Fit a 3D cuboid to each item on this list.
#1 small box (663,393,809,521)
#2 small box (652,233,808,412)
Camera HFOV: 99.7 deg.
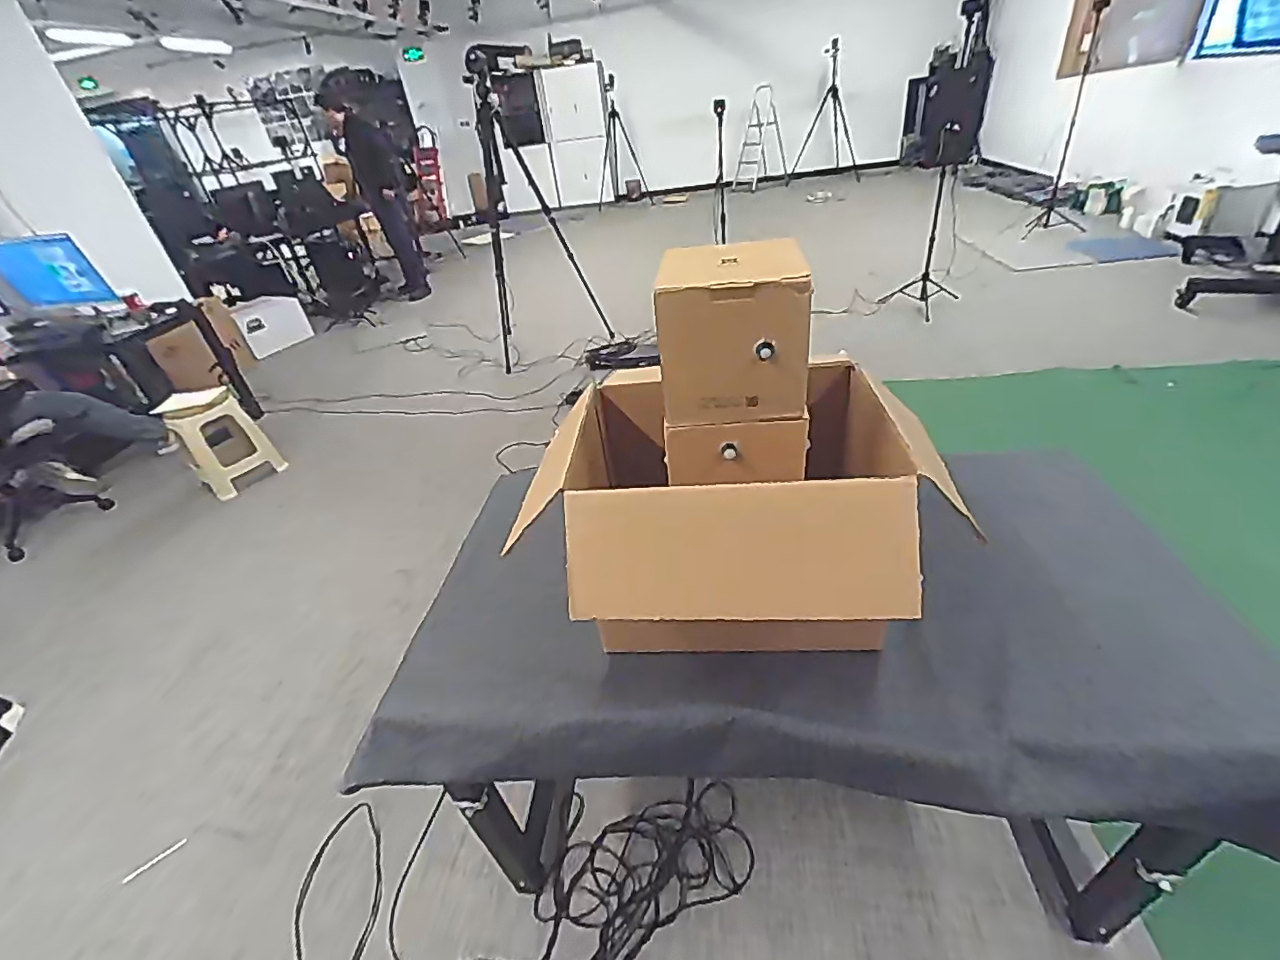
[{"bbox_3d":[0.129,-0.056,0.759,0.179,0.176,0.168,-3,35,7],"label":"small box"},{"bbox_3d":[0.111,-0.192,0.672,0.168,0.176,0.179,-1,35,8],"label":"small box"}]
